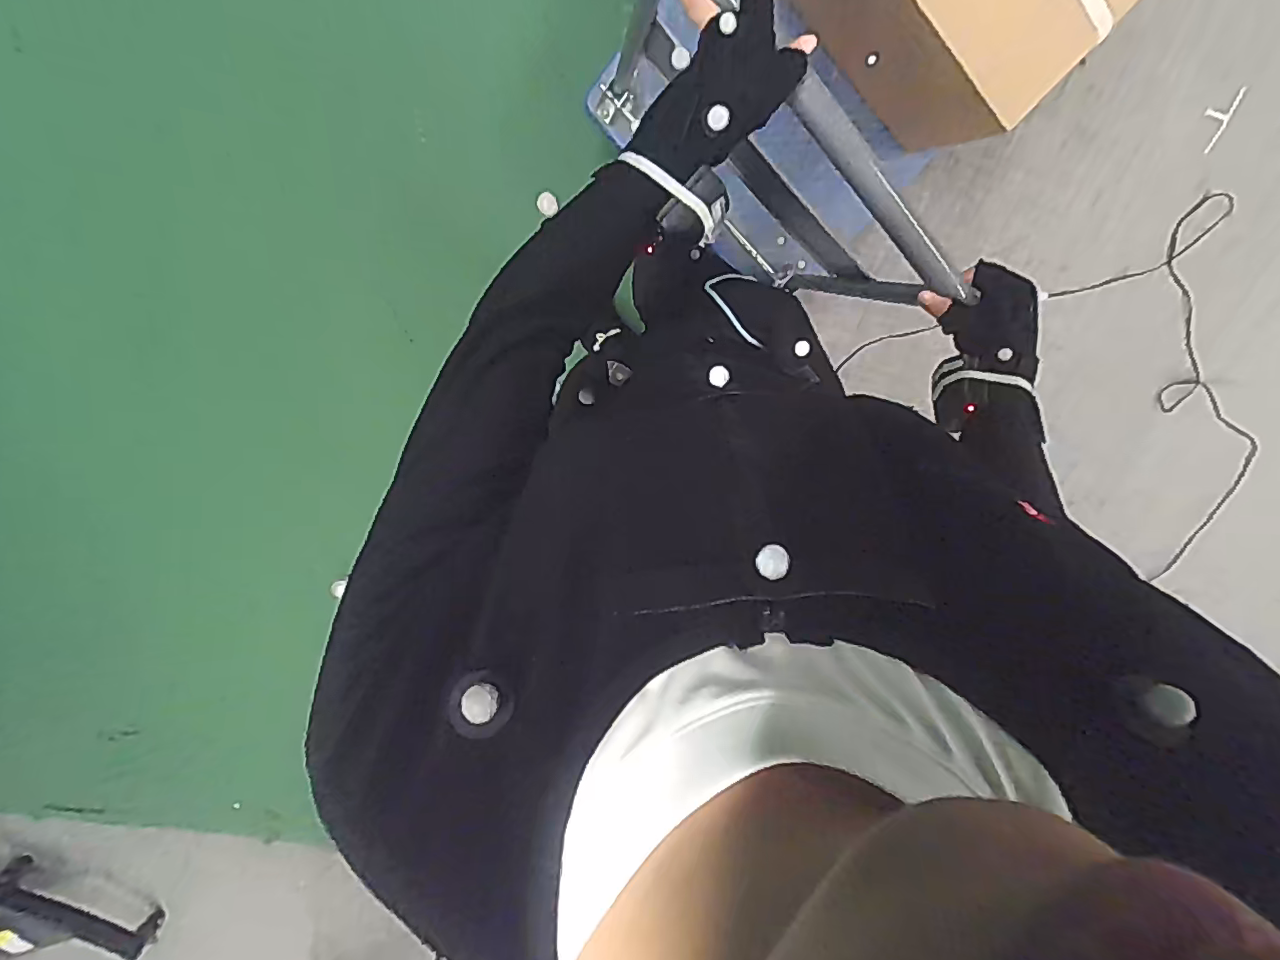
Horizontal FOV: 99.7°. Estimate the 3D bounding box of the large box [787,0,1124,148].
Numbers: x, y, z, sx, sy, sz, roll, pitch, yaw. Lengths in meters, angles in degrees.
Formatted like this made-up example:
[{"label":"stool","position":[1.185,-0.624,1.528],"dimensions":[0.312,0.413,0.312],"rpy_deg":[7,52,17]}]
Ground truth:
[{"label":"large box","position":[0.488,-0.811,0.843],"dimensions":[0.408,0.320,0.320],"rpy_deg":[38,108,-18]}]
